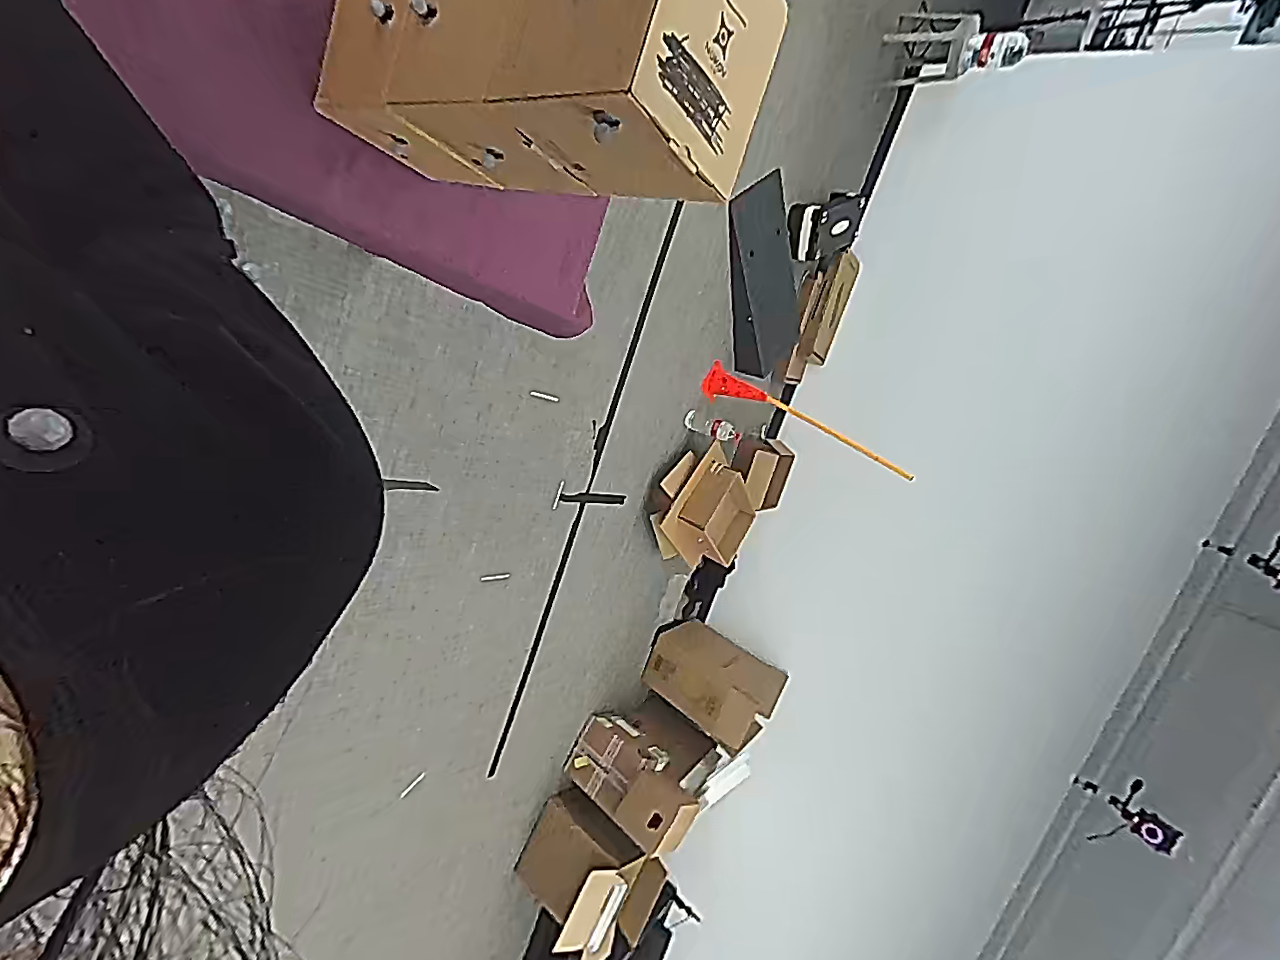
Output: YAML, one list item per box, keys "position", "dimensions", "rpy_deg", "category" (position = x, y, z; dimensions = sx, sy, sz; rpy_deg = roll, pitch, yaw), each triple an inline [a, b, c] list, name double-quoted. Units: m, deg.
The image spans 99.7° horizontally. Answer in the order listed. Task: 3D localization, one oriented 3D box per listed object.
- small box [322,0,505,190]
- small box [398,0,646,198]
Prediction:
- position: [-0.256, -0.485, 0.659]
  dimensions: [0.168, 0.176, 0.179]
  rpy_deg: [5, 106, -57]
  category: "small box"
- position: [-0.127, -0.431, 0.573]
  dimensions: [0.168, 0.176, 0.179]
  rpy_deg: [7, 105, -57]
  category: "small box"
